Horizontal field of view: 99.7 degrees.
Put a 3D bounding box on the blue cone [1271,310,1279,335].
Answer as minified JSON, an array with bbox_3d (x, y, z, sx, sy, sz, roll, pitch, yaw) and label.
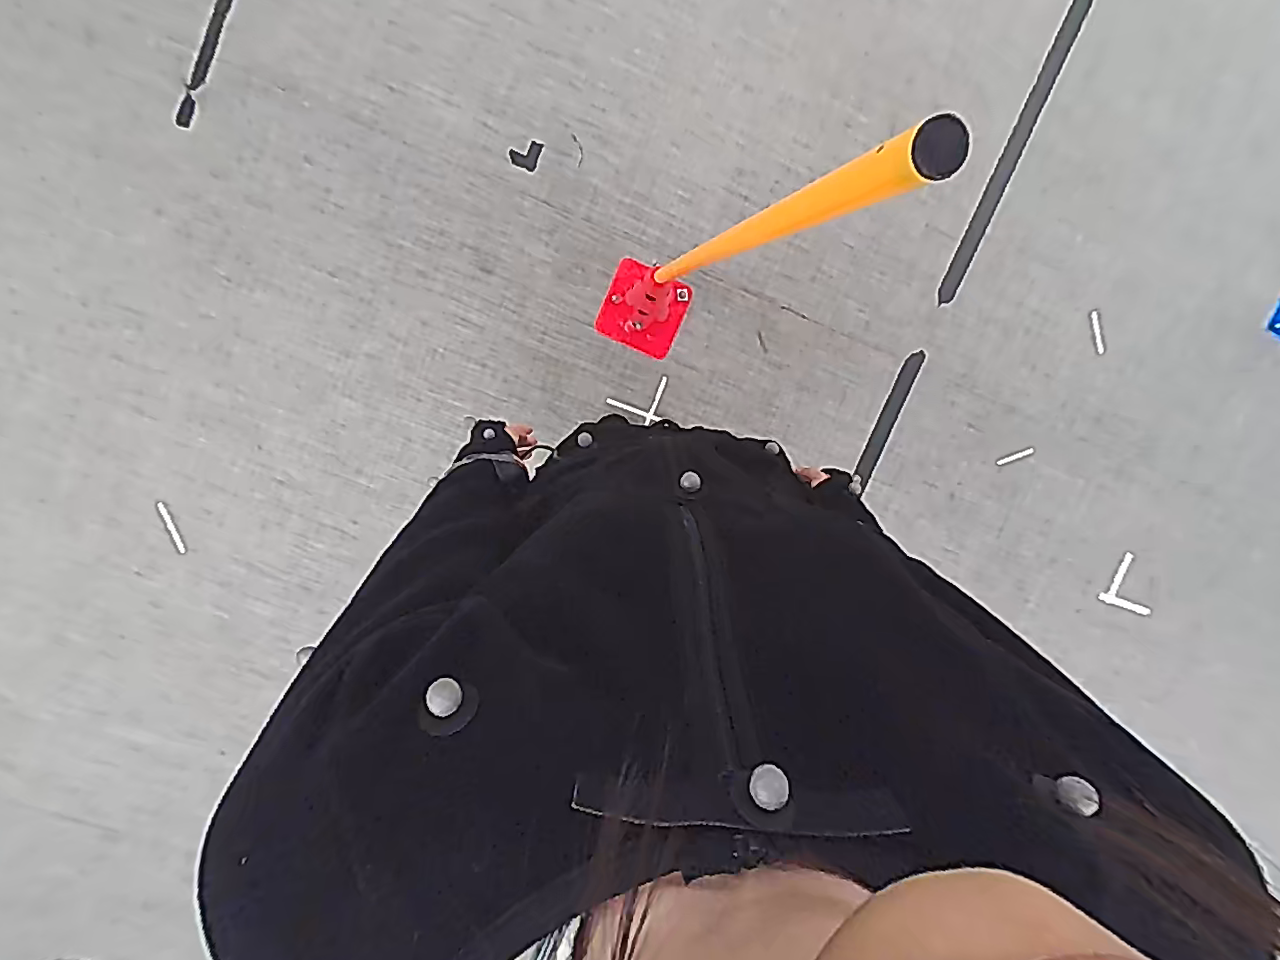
[{"bbox_3d":[1.892,-0.444,1.349,0.193,0.380,0.192,25,96,-7],"label":"blue cone"}]
